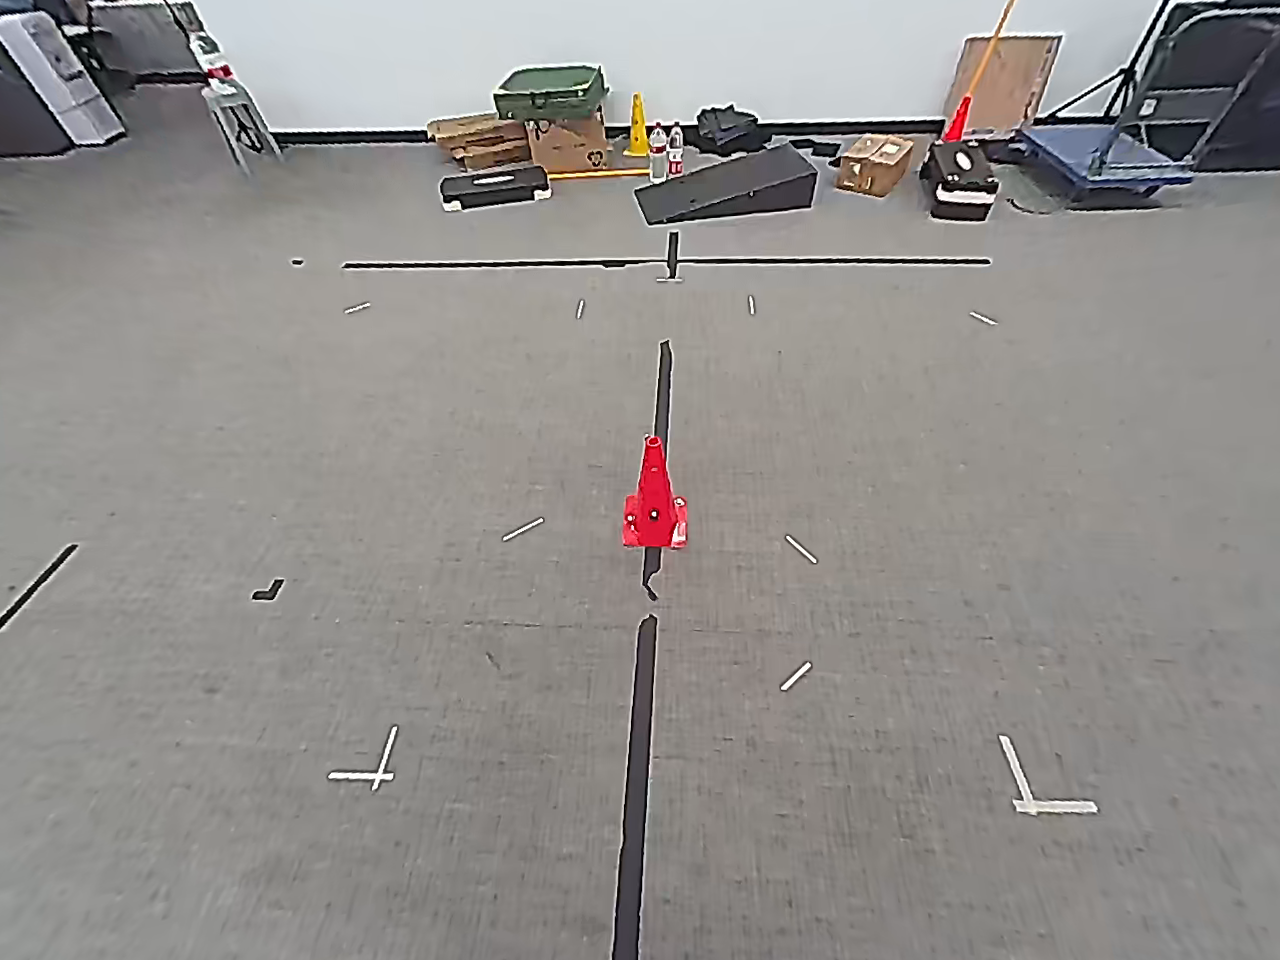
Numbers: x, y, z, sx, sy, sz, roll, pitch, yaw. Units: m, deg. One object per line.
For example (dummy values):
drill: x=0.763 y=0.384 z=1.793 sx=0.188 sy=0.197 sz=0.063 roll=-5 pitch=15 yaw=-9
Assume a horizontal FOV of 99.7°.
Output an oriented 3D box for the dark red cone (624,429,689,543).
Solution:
dark red cone: x=0.043 y=0.002 z=1.562 sx=0.201 sy=0.394 sz=0.202 roll=1 pitch=49 yaw=4
